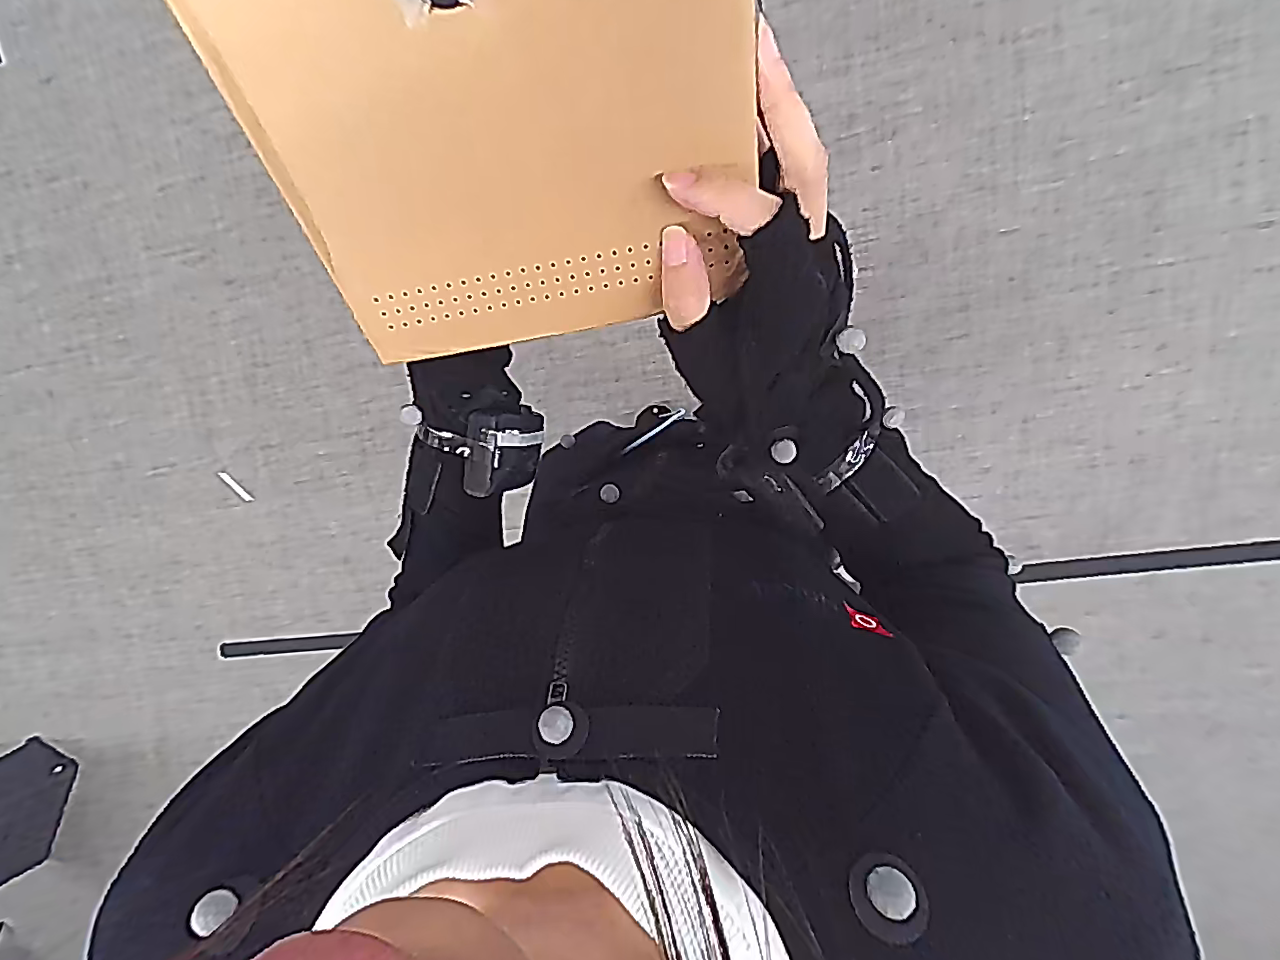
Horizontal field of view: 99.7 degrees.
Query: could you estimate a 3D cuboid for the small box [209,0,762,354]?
[{"bbox_3d":[-0.047,-0.176,0.246,0.179,0.168,0.176,-9,136,5],"label":"small box"}]
